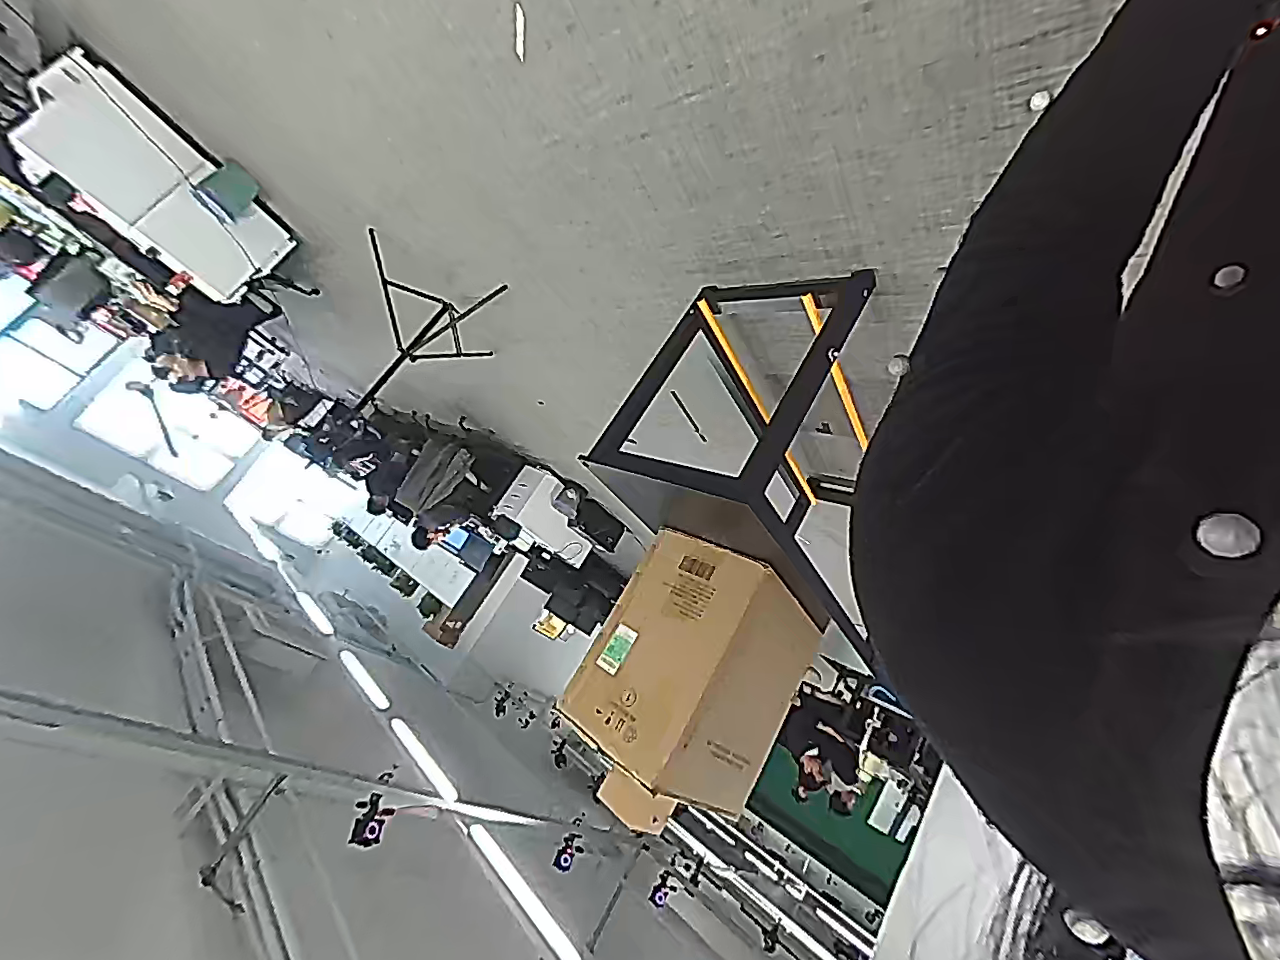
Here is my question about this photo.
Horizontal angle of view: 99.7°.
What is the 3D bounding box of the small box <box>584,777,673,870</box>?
[{"bbox_3d":[-0.028,1.033,1.631,0.168,0.176,0.179,18,157,44],"label":"small box"}]
